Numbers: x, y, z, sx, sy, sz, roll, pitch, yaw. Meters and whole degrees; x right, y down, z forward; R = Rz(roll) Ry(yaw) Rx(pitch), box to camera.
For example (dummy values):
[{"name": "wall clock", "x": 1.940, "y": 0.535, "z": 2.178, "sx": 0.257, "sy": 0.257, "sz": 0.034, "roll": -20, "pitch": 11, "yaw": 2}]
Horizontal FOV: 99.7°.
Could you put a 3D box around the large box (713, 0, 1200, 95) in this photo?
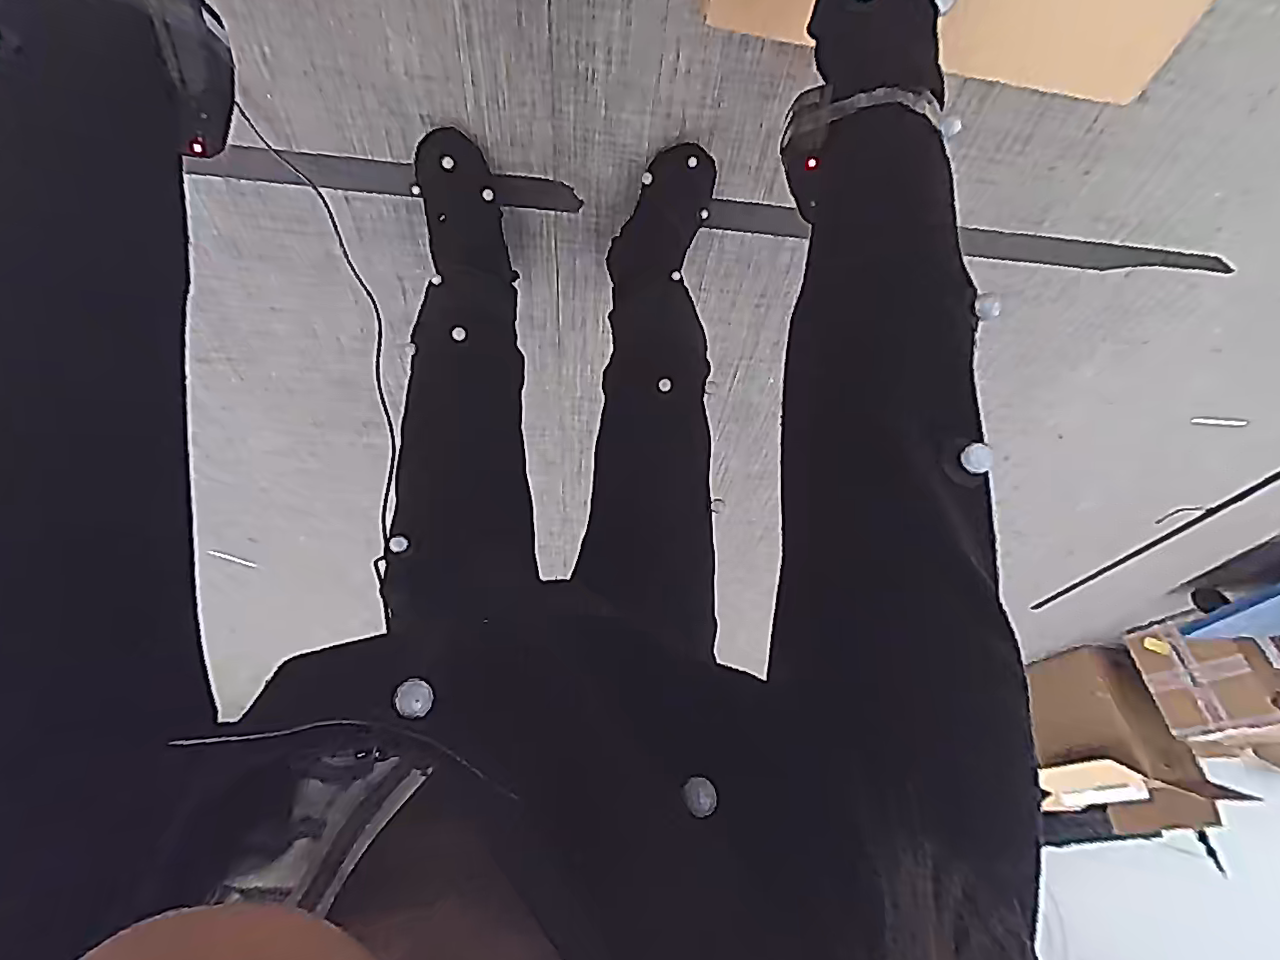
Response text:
[{"name": "large box", "x": 0.272, "y": -0.577, "z": 0.440, "sx": 0.408, "sy": 0.320, "sz": 0.320, "roll": 3, "pitch": 145, "yaw": -9}]
